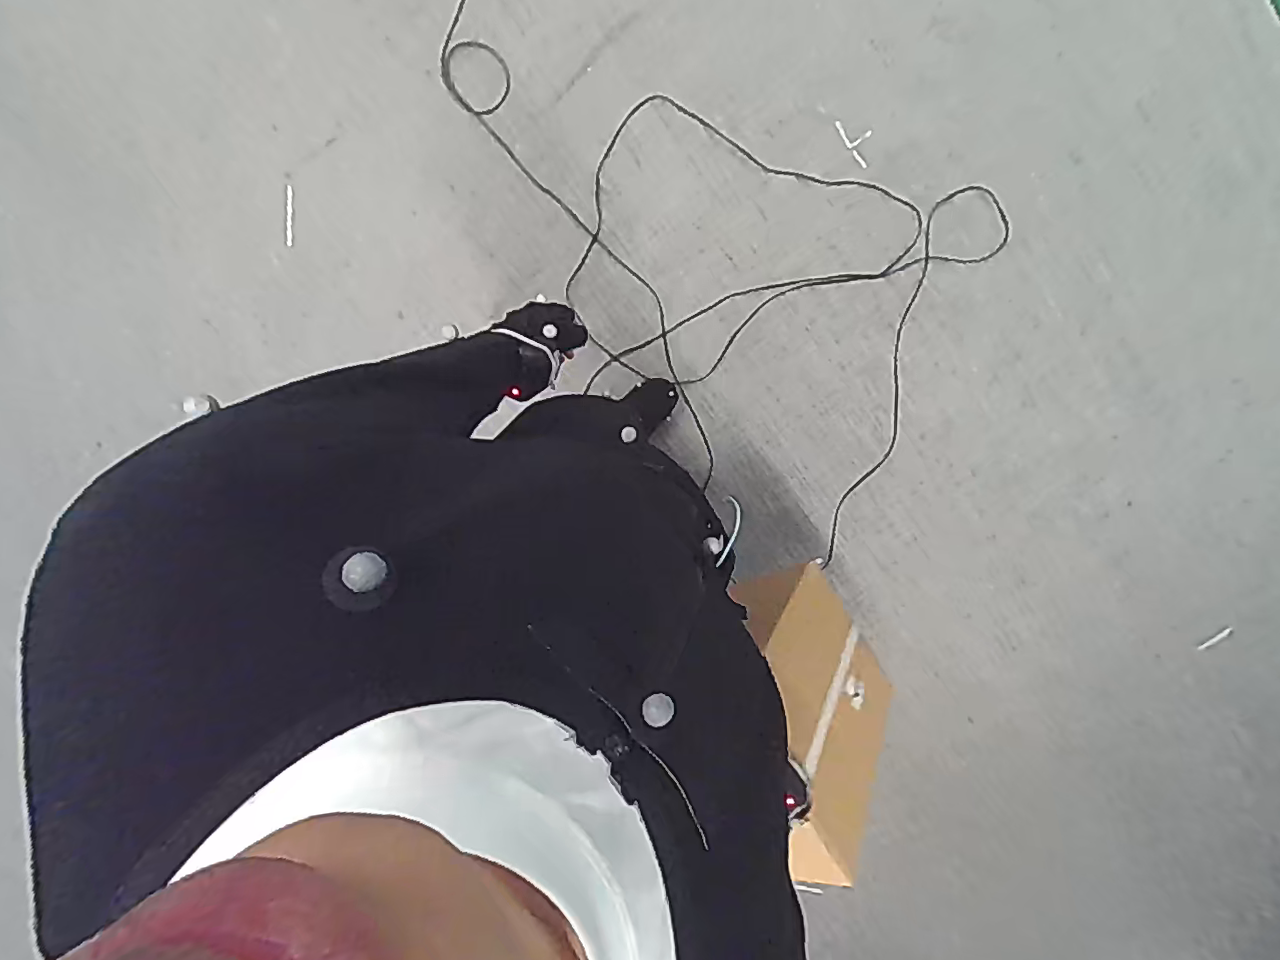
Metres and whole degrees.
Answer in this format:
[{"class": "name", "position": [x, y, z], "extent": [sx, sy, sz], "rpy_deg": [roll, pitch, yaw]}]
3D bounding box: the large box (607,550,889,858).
[{"class": "large box", "position": [0.214, 0.398, 1.003], "extent": [0.320, 0.408, 0.320], "rpy_deg": [-29, 96, 39]}]
